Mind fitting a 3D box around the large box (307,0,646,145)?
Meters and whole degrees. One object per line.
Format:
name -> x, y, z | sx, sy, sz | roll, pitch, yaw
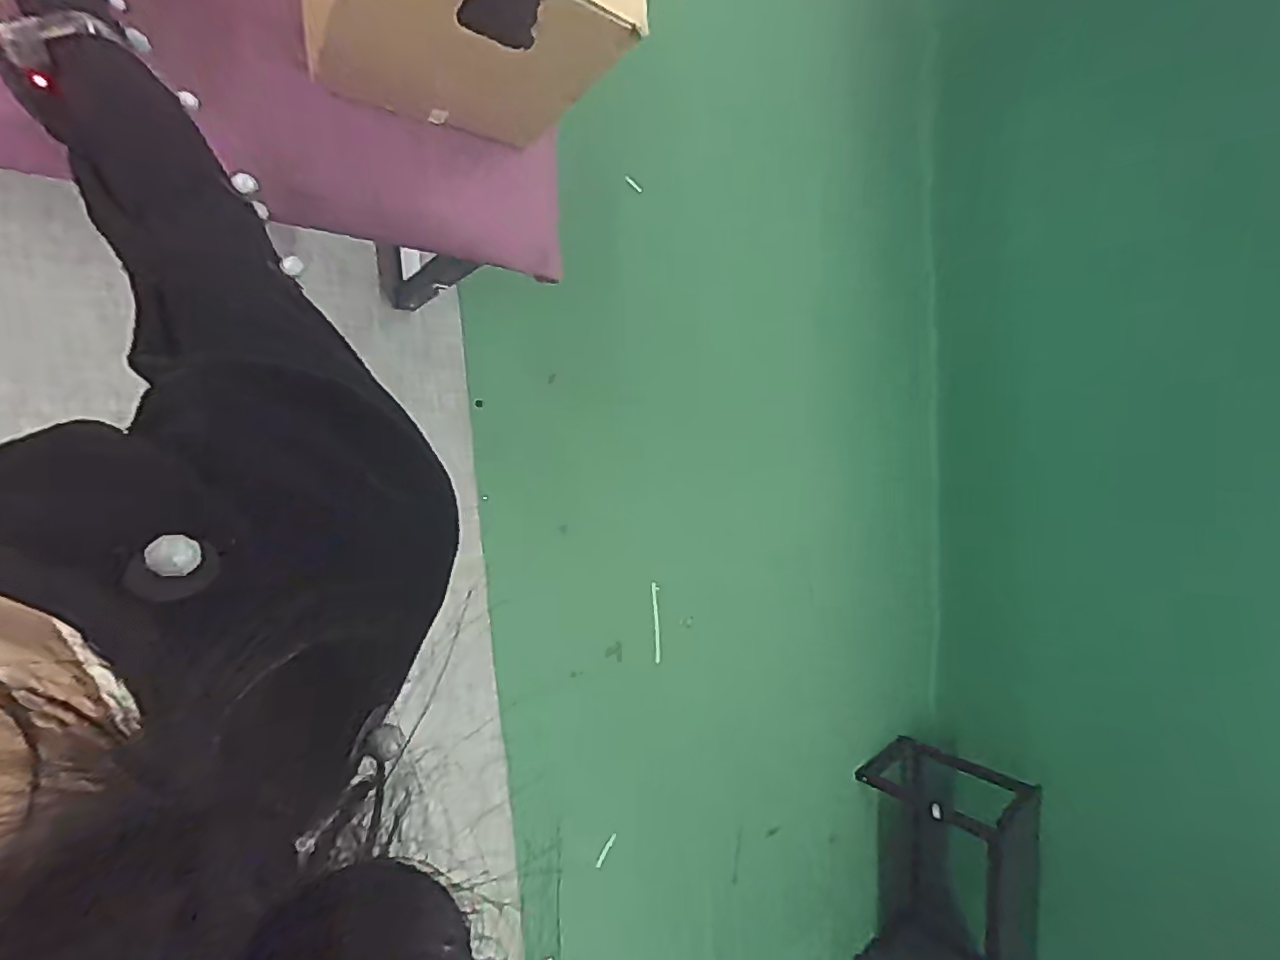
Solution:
large box -> -0.215, -0.711, 0.646 | 0.320, 0.320, 0.408 | -7, 98, -37
